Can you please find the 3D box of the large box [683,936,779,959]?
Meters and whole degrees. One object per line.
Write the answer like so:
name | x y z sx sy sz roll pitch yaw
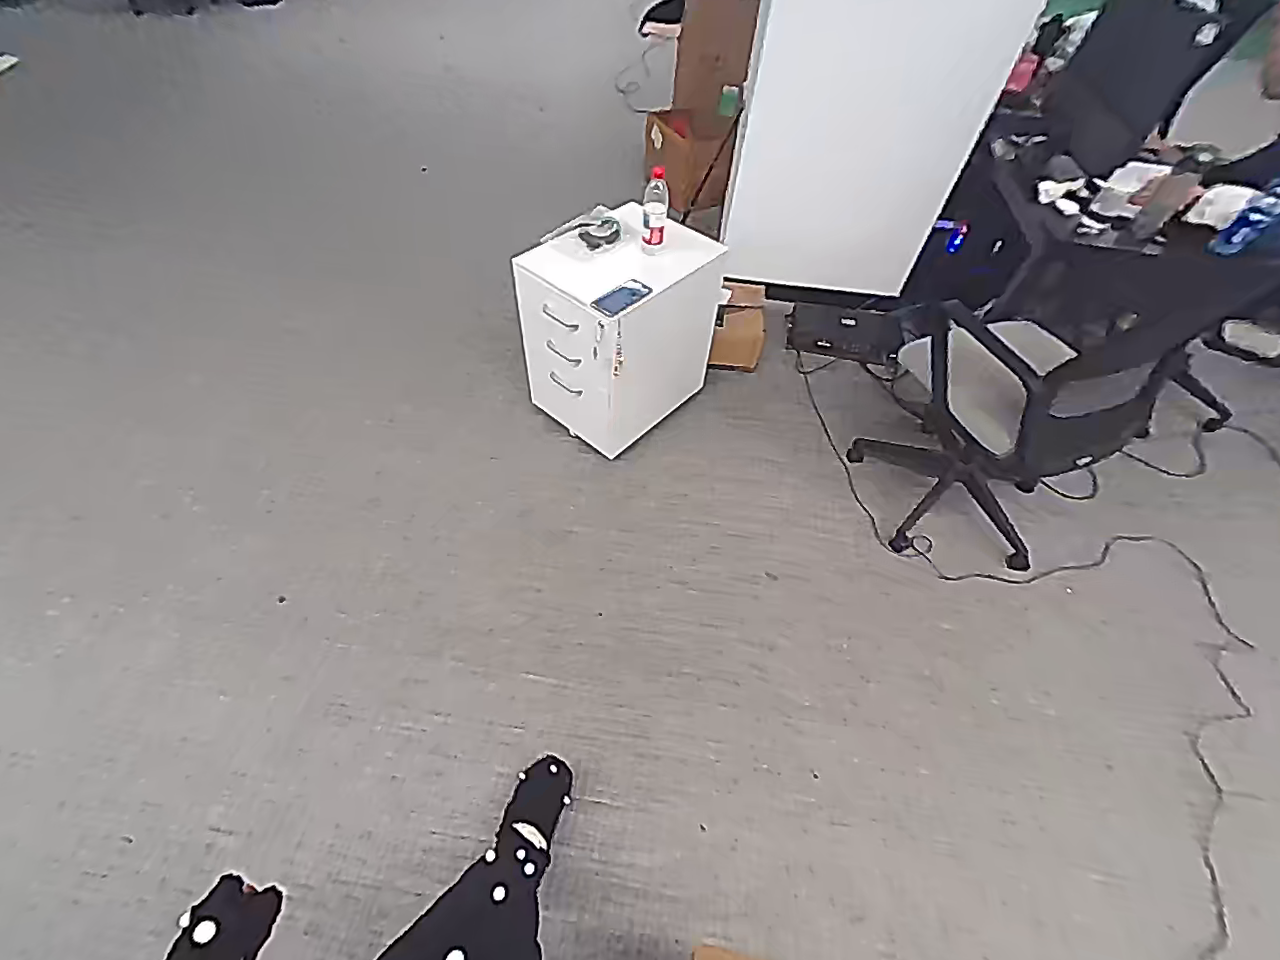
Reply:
large box | 0.173 0.852 0.604 0.320 0.408 0.320 12 84 7
